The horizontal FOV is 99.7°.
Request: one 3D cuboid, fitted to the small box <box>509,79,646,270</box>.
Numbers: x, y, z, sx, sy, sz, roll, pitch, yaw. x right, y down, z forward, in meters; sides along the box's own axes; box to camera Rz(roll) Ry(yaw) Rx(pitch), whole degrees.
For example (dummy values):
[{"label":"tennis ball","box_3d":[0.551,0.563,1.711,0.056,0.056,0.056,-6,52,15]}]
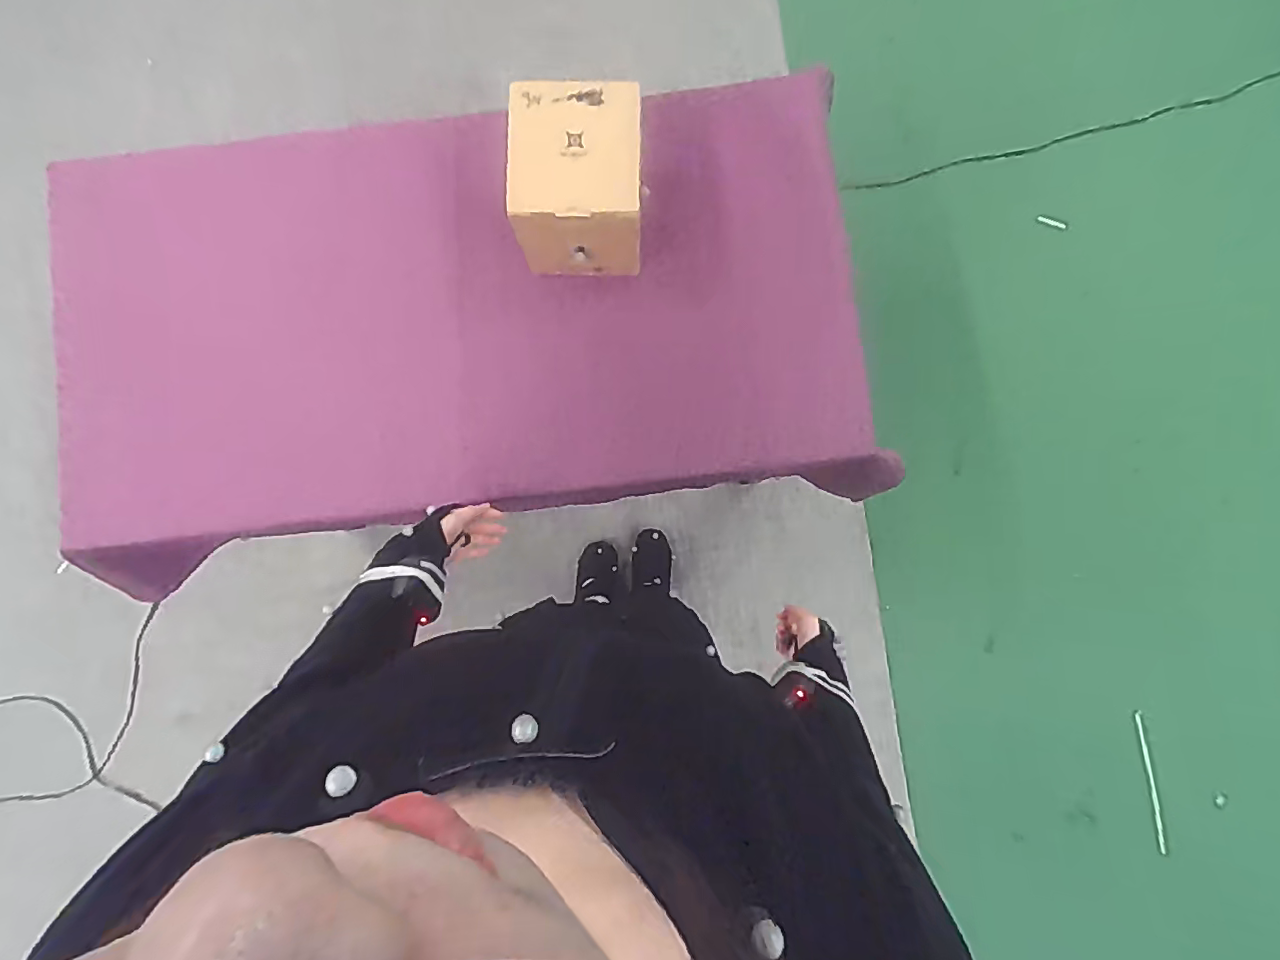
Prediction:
[{"label":"small box","box_3d":[-0.077,-0.408,0.748,0.168,0.176,0.179,1,86,1]}]
